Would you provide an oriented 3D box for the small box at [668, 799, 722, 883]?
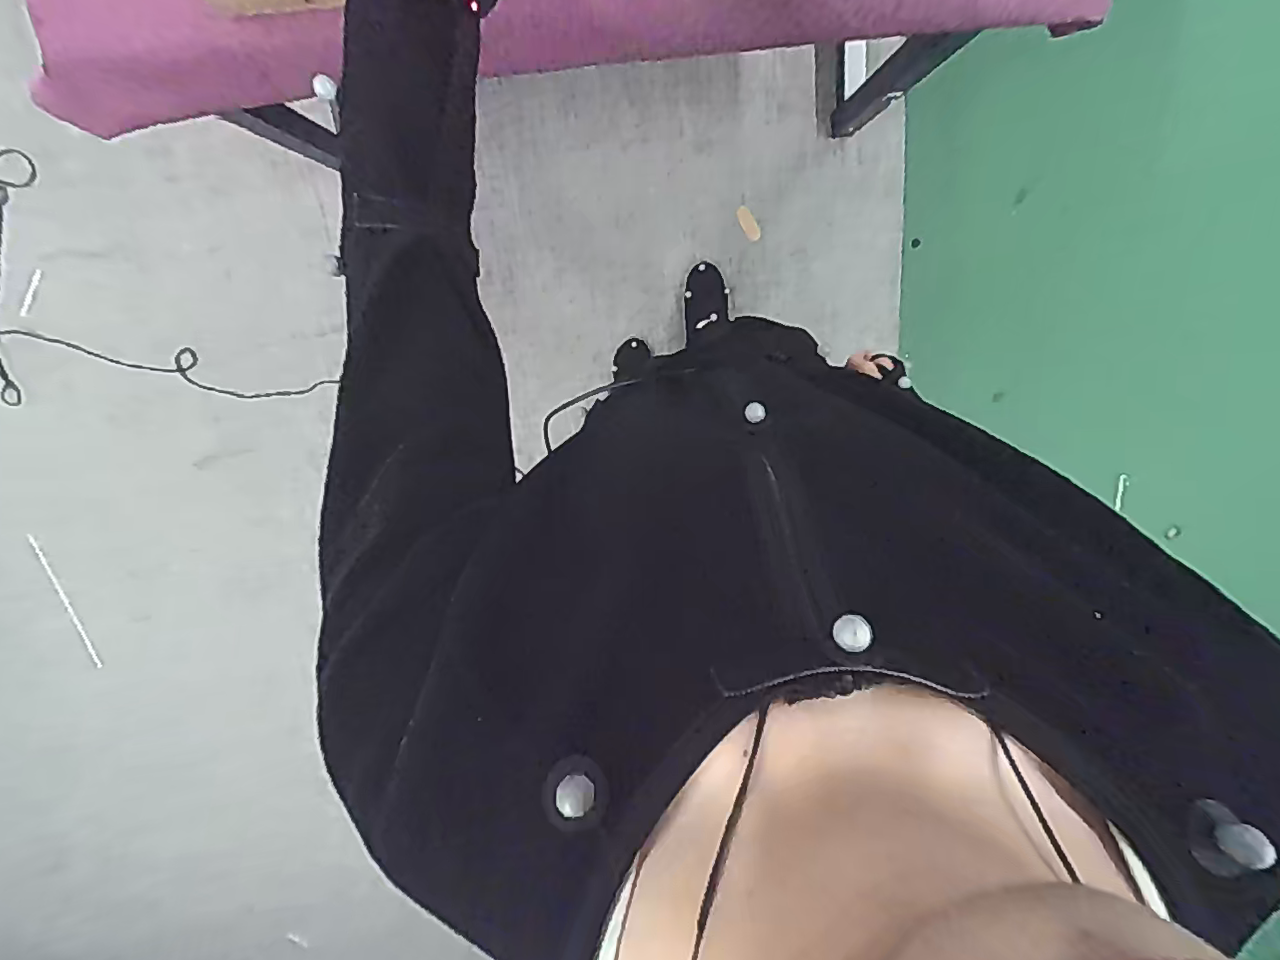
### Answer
[{"bbox_3d":[0.179,1.195,1.801,0.168,0.176,0.179,-1,107,1],"label":"small box"}]
